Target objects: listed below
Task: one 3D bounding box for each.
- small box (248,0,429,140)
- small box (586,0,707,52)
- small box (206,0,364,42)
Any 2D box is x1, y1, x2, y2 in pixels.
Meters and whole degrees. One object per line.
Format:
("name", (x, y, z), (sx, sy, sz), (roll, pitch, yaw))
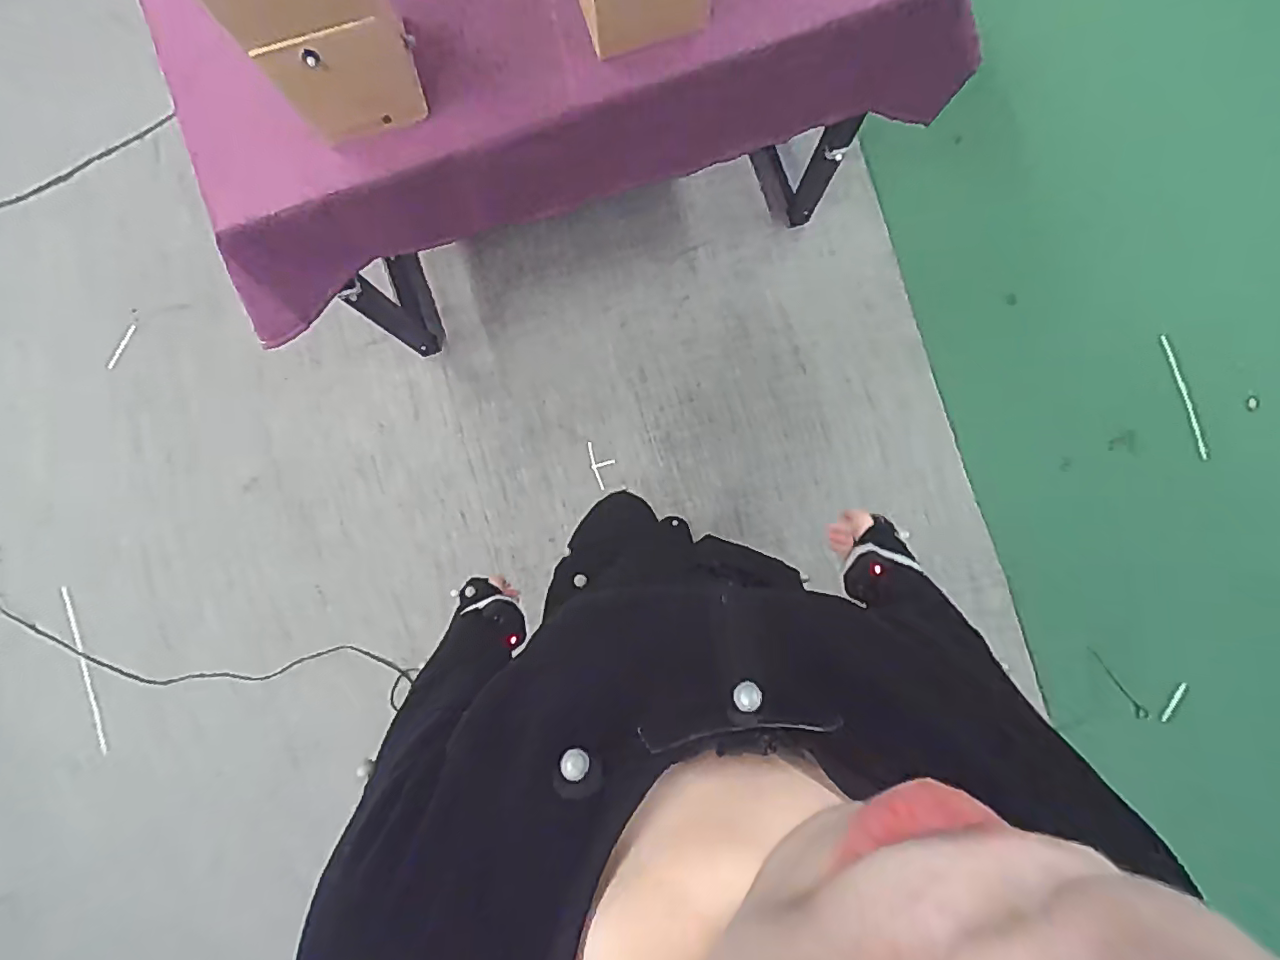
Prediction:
("small box", (-0.419, -0.621, 0.746), (0.168, 0.176, 0.179), (-16, 86, 0))
("small box", (-0.002, -0.748, 0.750), (0.179, 0.176, 0.168), (-17, 87, -1))
("small box", (-0.420, -0.631, 0.583), (0.179, 0.176, 0.168), (-15, 86, 0))
